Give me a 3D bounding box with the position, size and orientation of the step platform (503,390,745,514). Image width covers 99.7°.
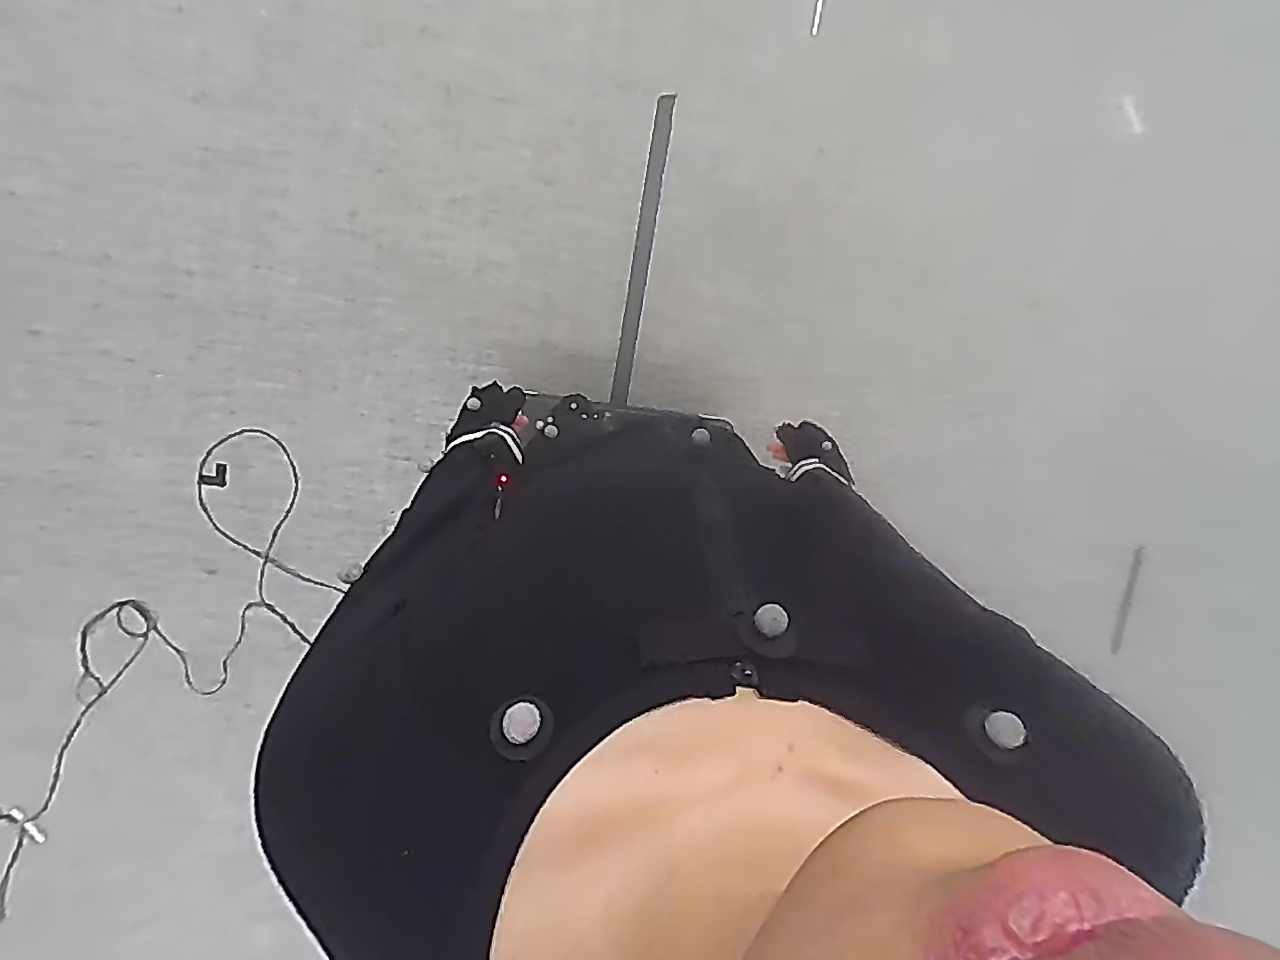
[{"bbox_3d":[-0.047,-0.081,1.564,0.684,0.204,0.286,6,98,-6],"label":"step platform"}]
